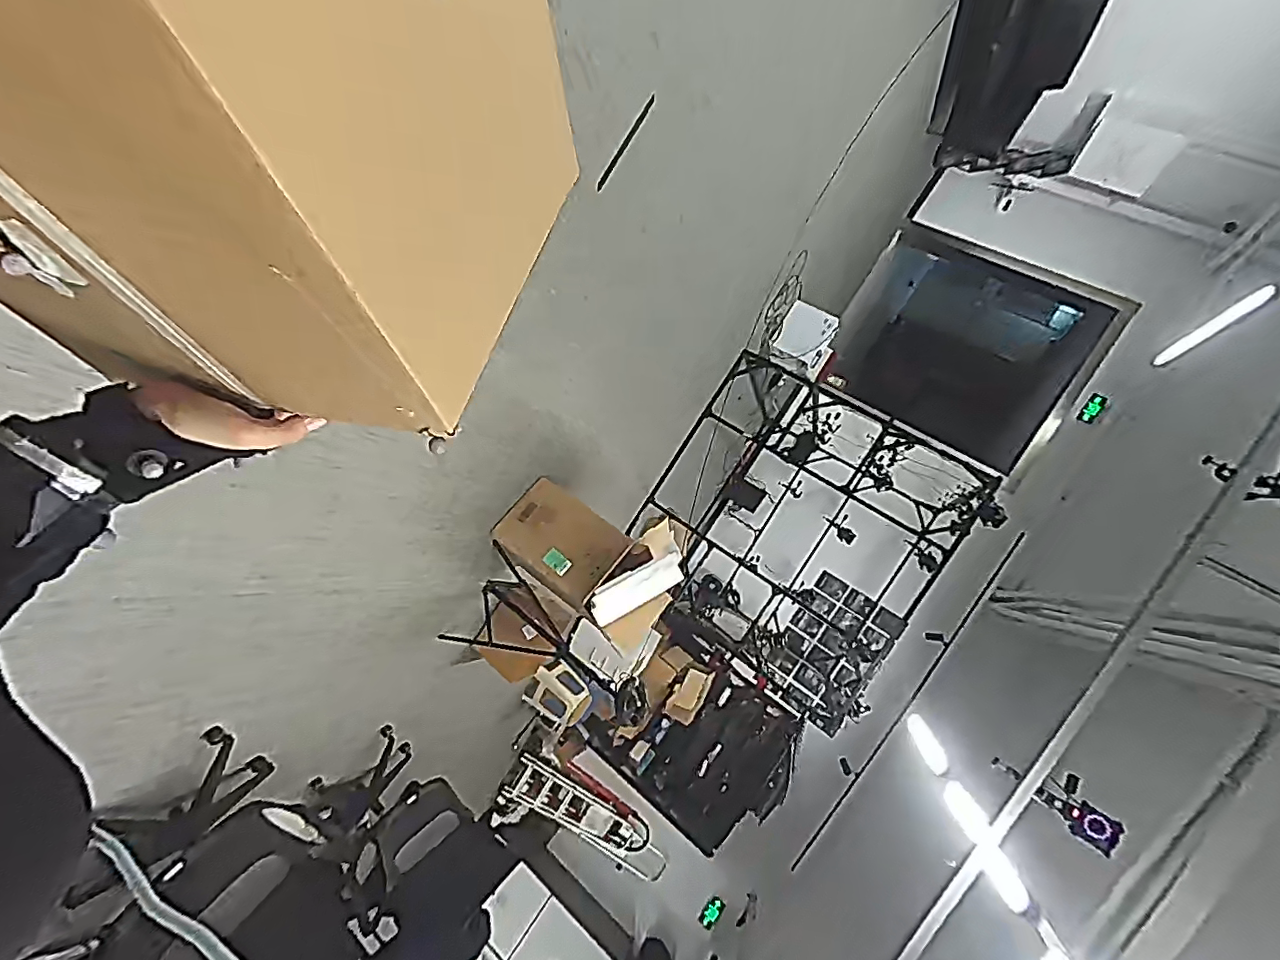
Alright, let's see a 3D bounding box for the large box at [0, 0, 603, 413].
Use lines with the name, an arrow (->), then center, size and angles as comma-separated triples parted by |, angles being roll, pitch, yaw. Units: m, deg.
large box -> -0.232, -0.293, 0.300 | 0.408, 0.320, 0.320 | 78, 25, -61
